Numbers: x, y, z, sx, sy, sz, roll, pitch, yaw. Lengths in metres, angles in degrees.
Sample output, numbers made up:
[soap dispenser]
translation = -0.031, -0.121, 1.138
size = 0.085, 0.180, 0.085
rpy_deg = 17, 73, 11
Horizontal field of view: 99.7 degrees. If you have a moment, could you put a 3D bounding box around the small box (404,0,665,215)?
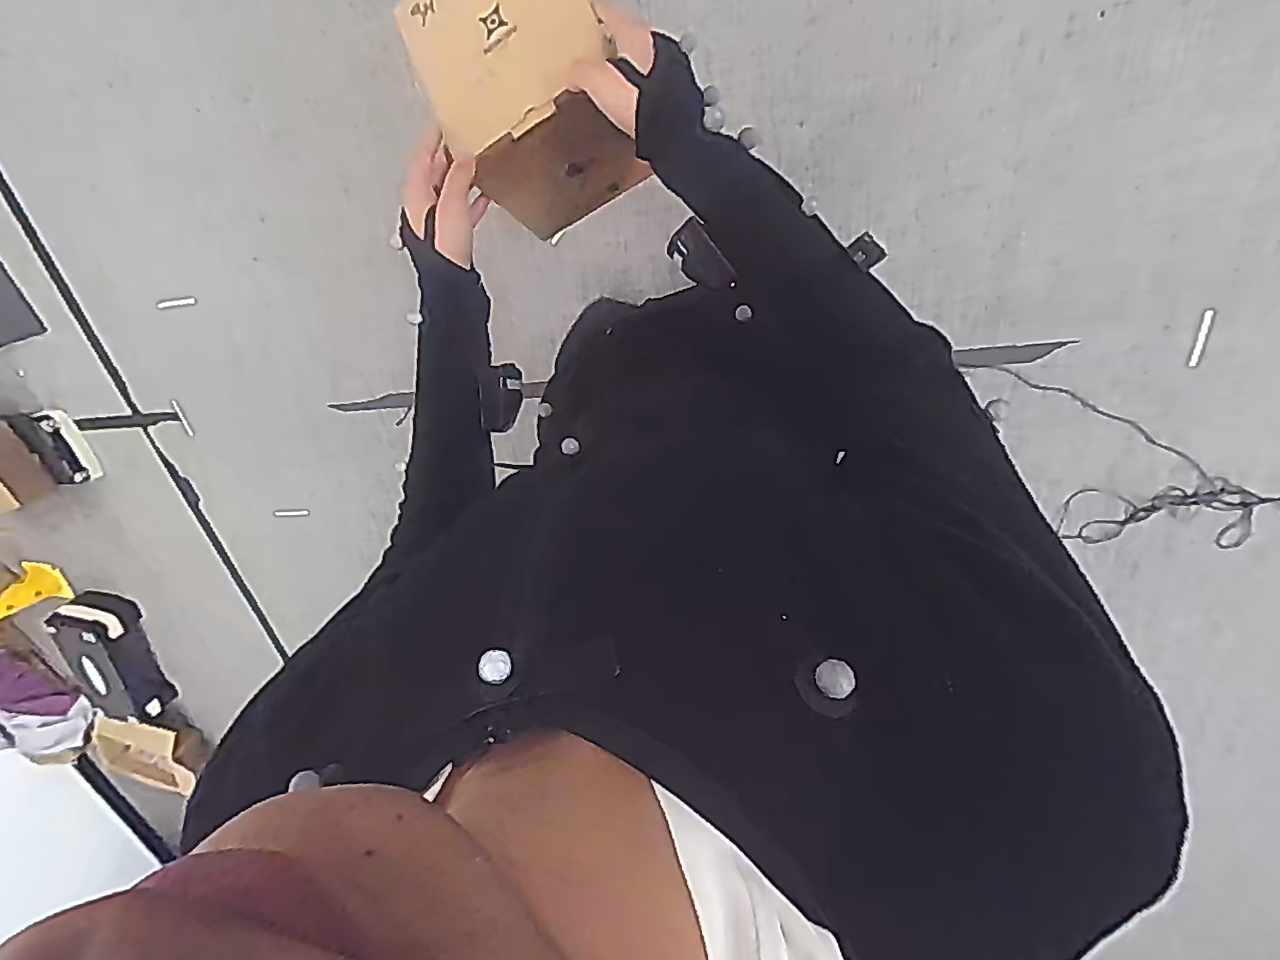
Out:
[small box]
translation = -0.091, -0.398, 0.540
size = 0.168, 0.176, 0.179
rpy_deg = -23, 86, 17
